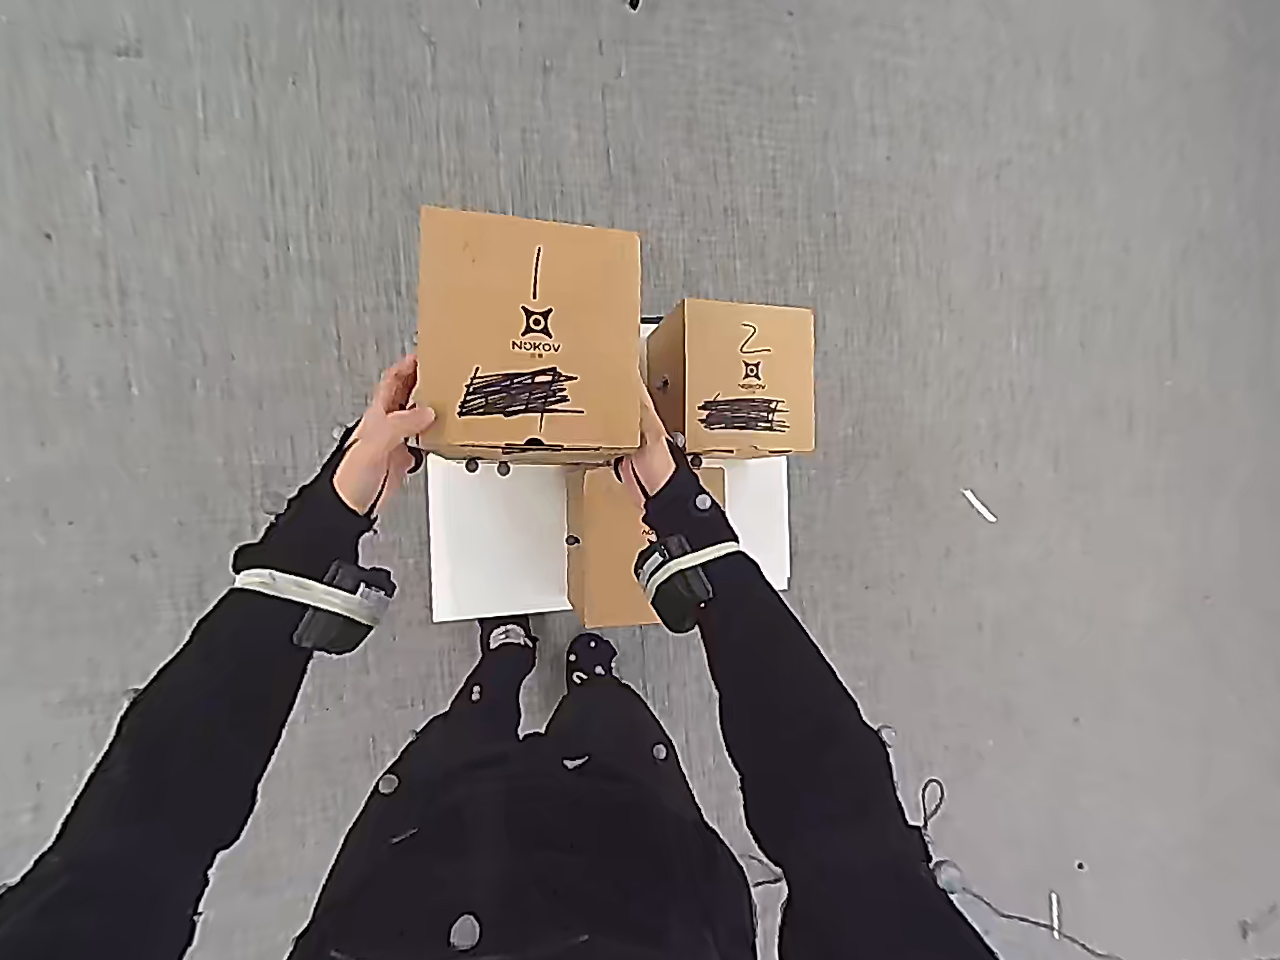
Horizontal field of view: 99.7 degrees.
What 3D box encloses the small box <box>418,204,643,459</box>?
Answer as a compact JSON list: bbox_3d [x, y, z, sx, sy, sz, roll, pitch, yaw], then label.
[{"bbox_3d":[-0.097,-0.109,0.483,0.168,0.176,0.179,0,88,-15],"label":"small box"}]
